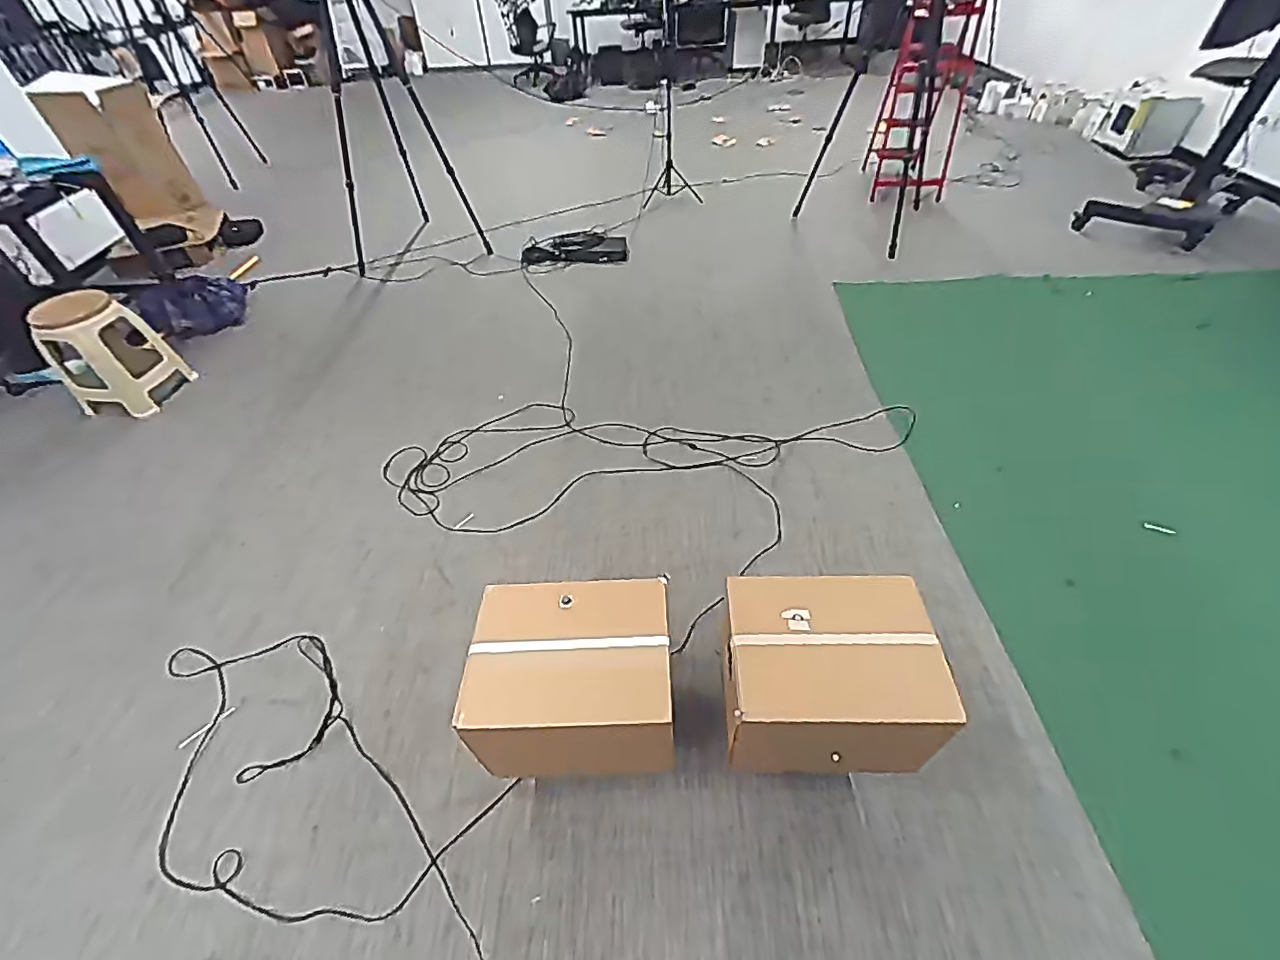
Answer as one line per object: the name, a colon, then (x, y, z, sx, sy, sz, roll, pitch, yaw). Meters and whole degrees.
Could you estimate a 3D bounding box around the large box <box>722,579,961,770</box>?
large box: (0.400, 0.436, 1.198, 0.408, 0.320, 0.320, -1, 46, 4)
